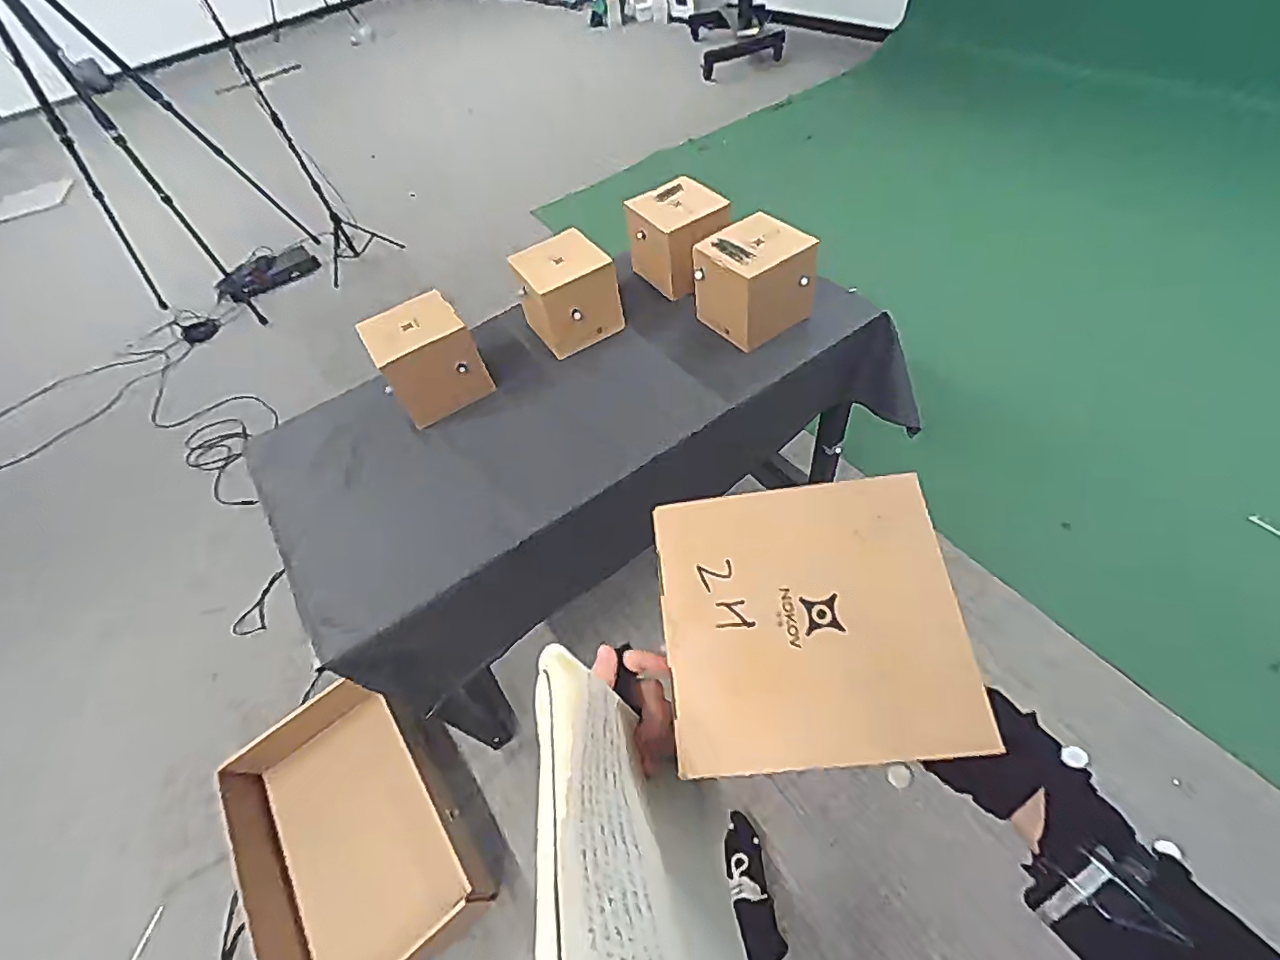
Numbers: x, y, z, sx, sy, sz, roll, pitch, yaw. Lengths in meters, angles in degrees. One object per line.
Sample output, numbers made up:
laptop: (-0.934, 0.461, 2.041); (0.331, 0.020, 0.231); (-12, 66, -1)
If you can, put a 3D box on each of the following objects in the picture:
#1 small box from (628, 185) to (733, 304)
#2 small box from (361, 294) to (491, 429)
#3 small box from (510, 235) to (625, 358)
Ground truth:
small box: (0.094, -0.531, 1.225); (0.168, 0.176, 0.179); (-30, 55, -13)
small box: (-0.418, -0.236, 1.086); (0.179, 0.176, 0.168); (-30, 54, -15)
small box: (-0.148, -0.385, 1.159); (0.168, 0.176, 0.179); (-30, 54, -13)
